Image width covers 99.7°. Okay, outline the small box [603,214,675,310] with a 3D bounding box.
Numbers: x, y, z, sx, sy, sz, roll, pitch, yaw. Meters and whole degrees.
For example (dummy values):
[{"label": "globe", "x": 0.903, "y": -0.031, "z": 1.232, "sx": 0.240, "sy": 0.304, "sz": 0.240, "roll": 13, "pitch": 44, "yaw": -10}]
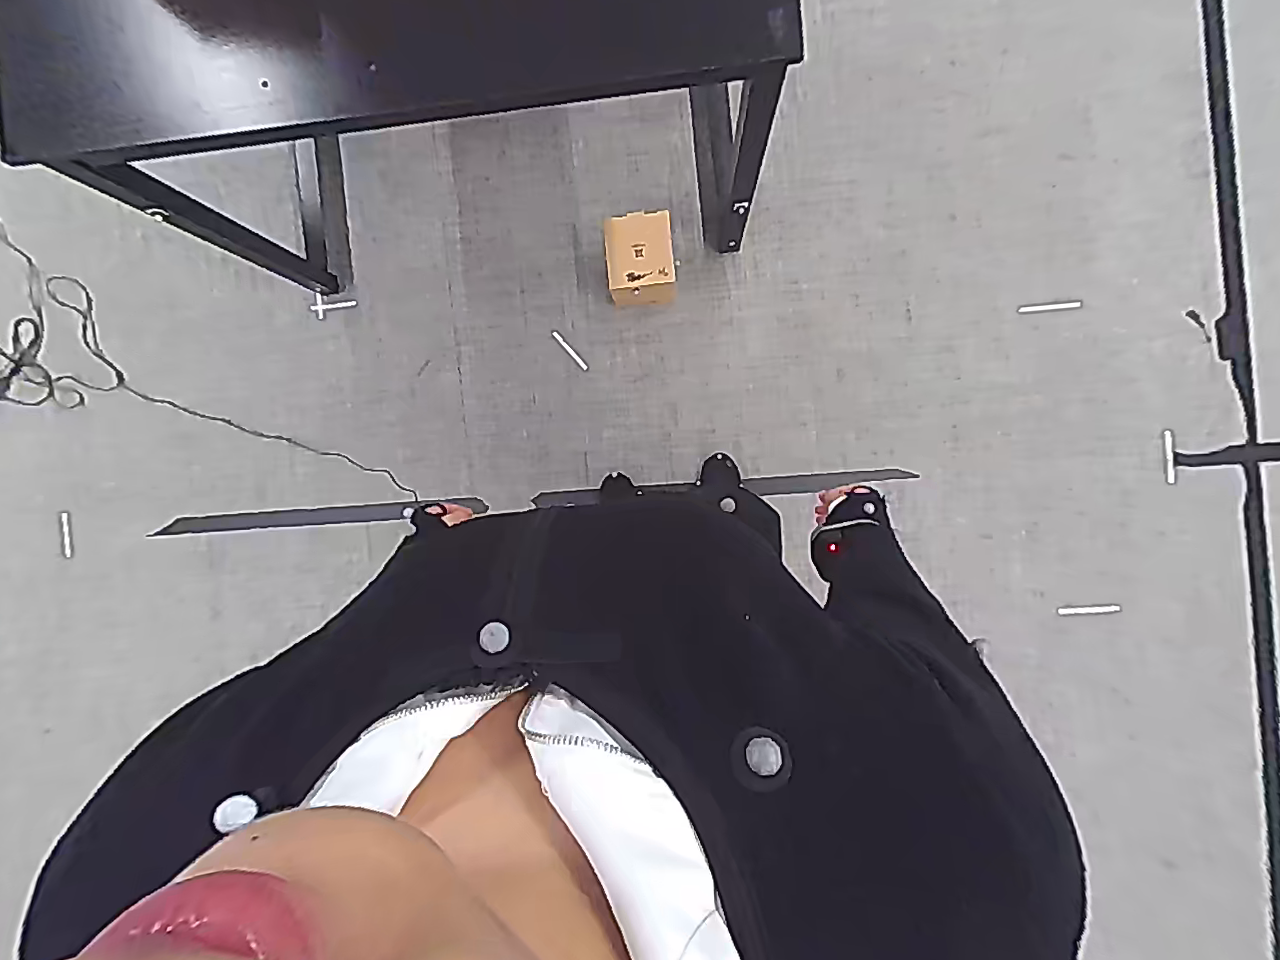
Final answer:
[{"label": "small box", "x": 0.001, "y": -0.559, "z": 1.404, "sx": 0.168, "sy": 0.176, "sz": 0.179, "roll": -5, "pitch": 91, "yaw": 5}]
